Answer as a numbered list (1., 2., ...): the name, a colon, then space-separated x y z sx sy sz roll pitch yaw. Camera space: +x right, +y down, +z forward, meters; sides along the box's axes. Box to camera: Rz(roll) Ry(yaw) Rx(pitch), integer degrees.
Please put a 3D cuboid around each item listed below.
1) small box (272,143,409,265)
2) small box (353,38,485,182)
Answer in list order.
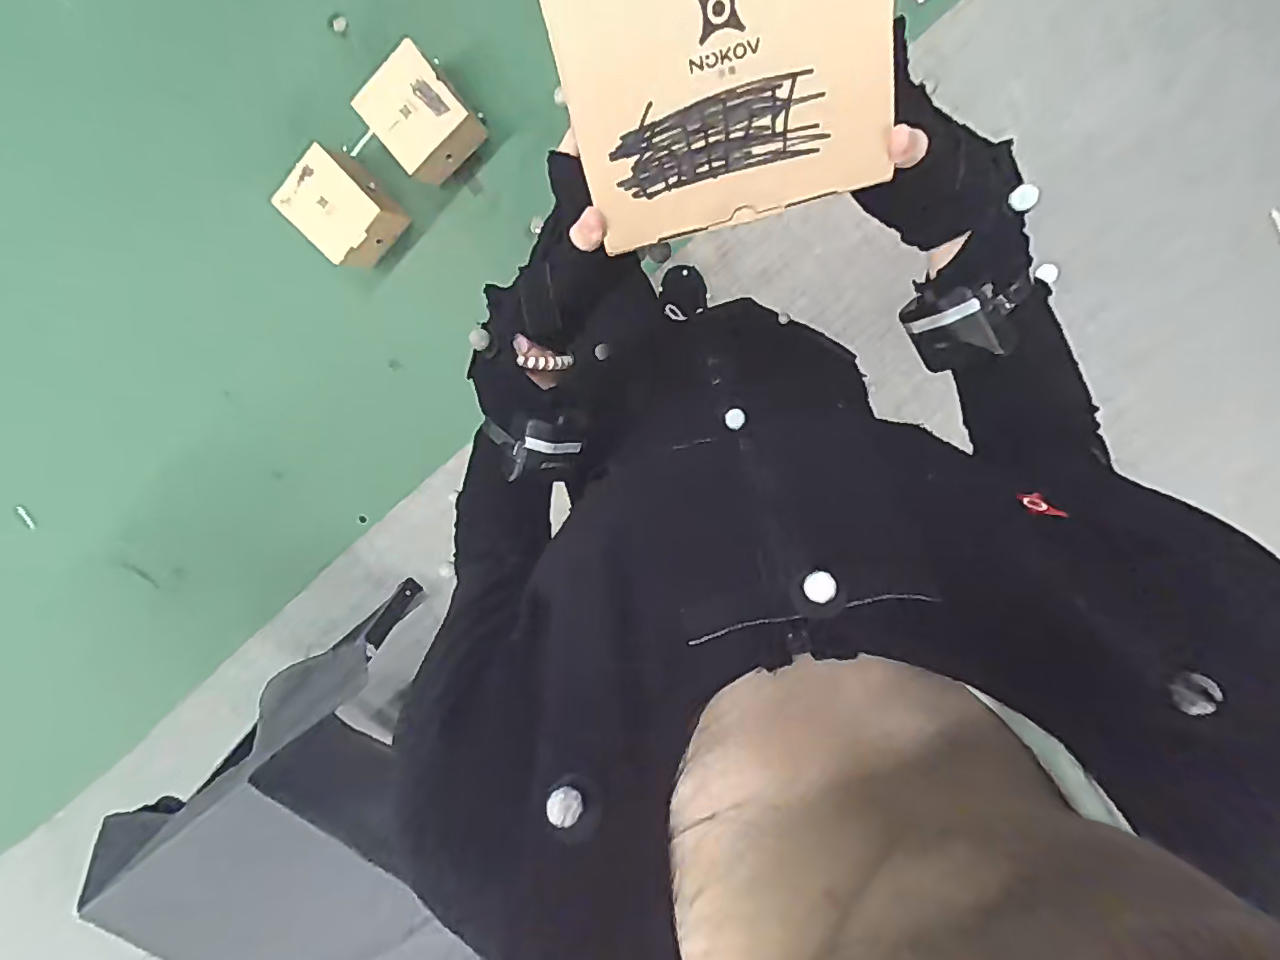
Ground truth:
1. small box: -0.658 -0.611 1.214 0.168 0.176 0.179 -39 107 15
2. small box: -0.453 -0.769 1.147 0.179 0.176 0.168 -36 107 14
